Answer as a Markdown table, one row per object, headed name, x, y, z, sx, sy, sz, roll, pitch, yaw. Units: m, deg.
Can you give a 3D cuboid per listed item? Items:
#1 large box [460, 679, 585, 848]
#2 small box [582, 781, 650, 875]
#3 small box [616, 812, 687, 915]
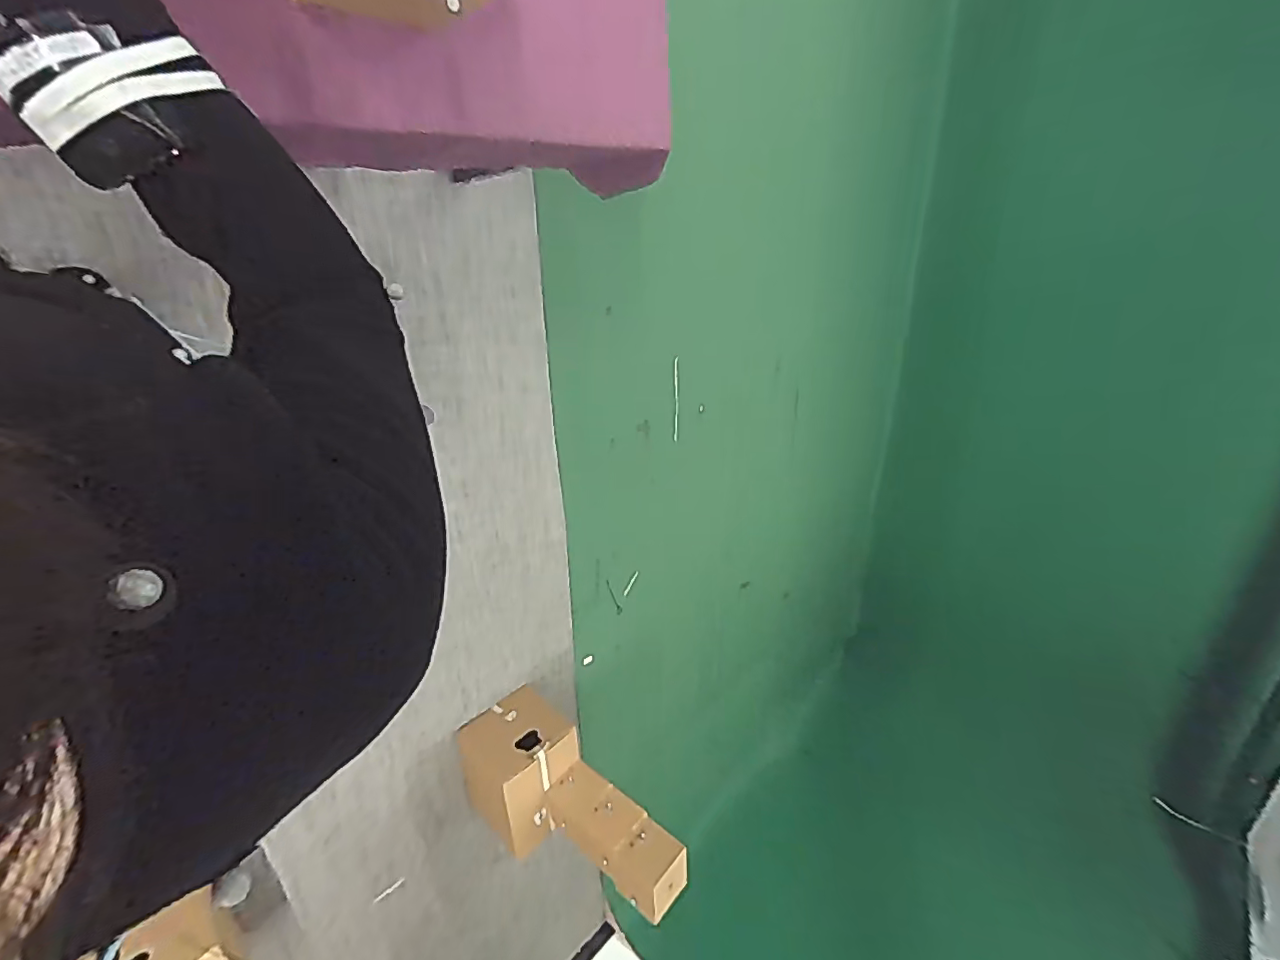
| name | x | y | z | sx | sy | sz | roll | pitch | yaw |
| --- | --- | --- | --- | --- | --- | --- | --- | --- | --- |
| large box | -0.434 | 1.048 | 2.034 | 0.320 | 0.320 | 0.408 | -24 | 123 | -40 |
| small box | -0.082 | 1.180 | 1.847 | 0.168 | 0.176 | 0.179 | -27 | 122 | -42 |
| small box | 0.036 | 1.227 | 1.744 | 0.168 | 0.176 | 0.179 | -25 | 121 | -44 |
